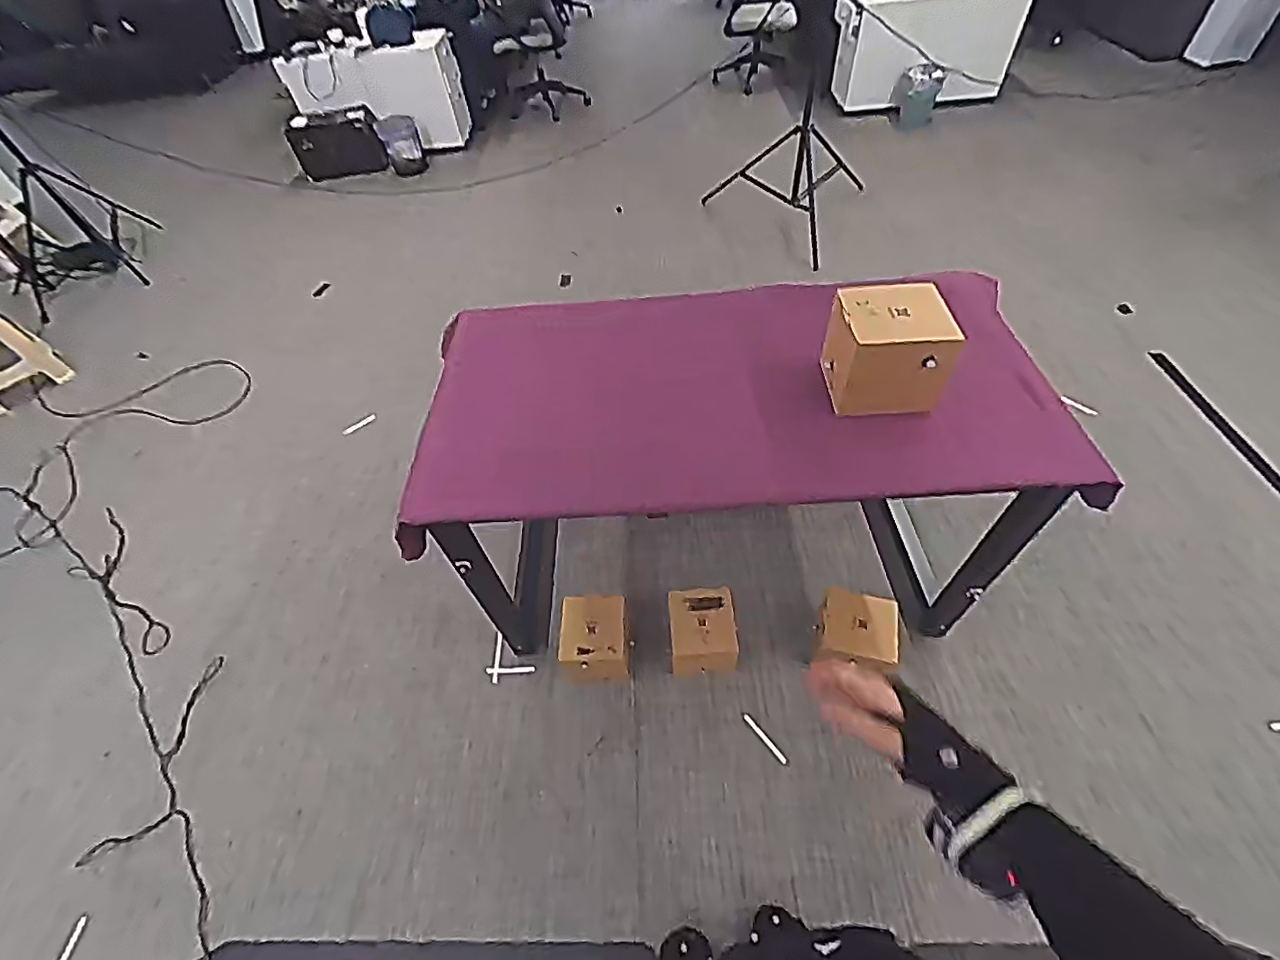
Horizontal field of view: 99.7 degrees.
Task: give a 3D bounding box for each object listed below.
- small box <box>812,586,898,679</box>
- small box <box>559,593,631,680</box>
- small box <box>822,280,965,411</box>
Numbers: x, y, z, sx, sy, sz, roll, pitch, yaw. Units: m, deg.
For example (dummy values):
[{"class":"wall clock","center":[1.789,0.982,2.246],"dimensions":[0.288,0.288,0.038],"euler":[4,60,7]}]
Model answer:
[{"class":"small box","center":[0.557,0.401,1.409],"dimensions":[0.179,0.176,0.168],"euler":[9,54,14]},{"class":"small box","center":[-0.115,0.423,1.457],"dimensions":[0.168,0.176,0.179],"euler":[-2,51,4]},{"class":"small box","center":[0.450,-0.243,0.992],"dimensions":[0.179,0.176,0.168],"euler":[-2,51,4]}]
